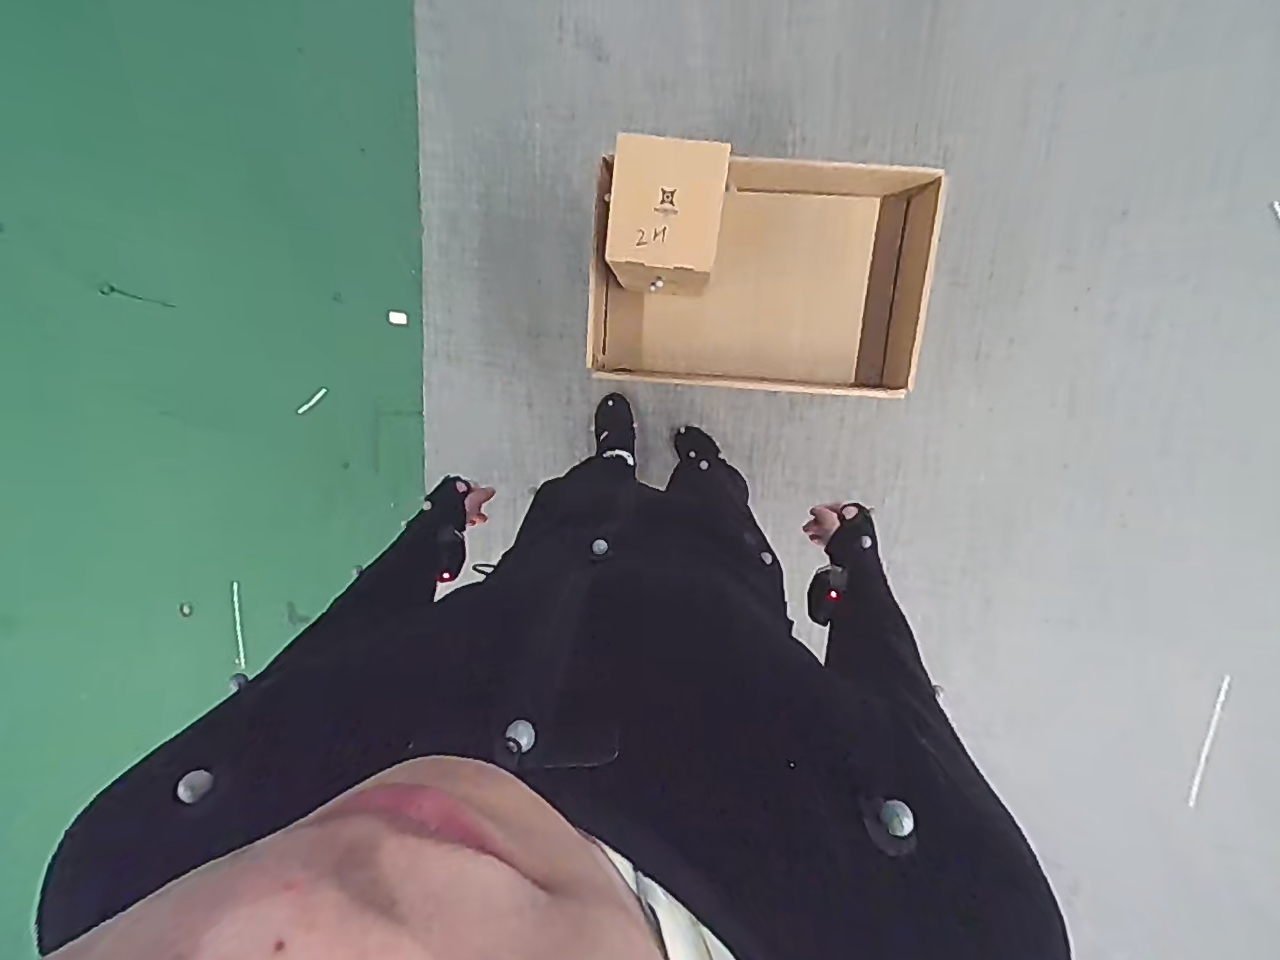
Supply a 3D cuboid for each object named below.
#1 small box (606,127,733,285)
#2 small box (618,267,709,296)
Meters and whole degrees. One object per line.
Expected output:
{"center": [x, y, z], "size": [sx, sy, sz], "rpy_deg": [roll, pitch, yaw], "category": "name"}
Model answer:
{"center": [0.044, -0.423, 0.863], "size": [0.168, 0.176, 0.179], "rpy_deg": [8, 102, 2], "category": "small box"}
{"center": [0.051, -0.458, 1.023], "size": [0.168, 0.176, 0.179], "rpy_deg": [6, 102, 1], "category": "small box"}
